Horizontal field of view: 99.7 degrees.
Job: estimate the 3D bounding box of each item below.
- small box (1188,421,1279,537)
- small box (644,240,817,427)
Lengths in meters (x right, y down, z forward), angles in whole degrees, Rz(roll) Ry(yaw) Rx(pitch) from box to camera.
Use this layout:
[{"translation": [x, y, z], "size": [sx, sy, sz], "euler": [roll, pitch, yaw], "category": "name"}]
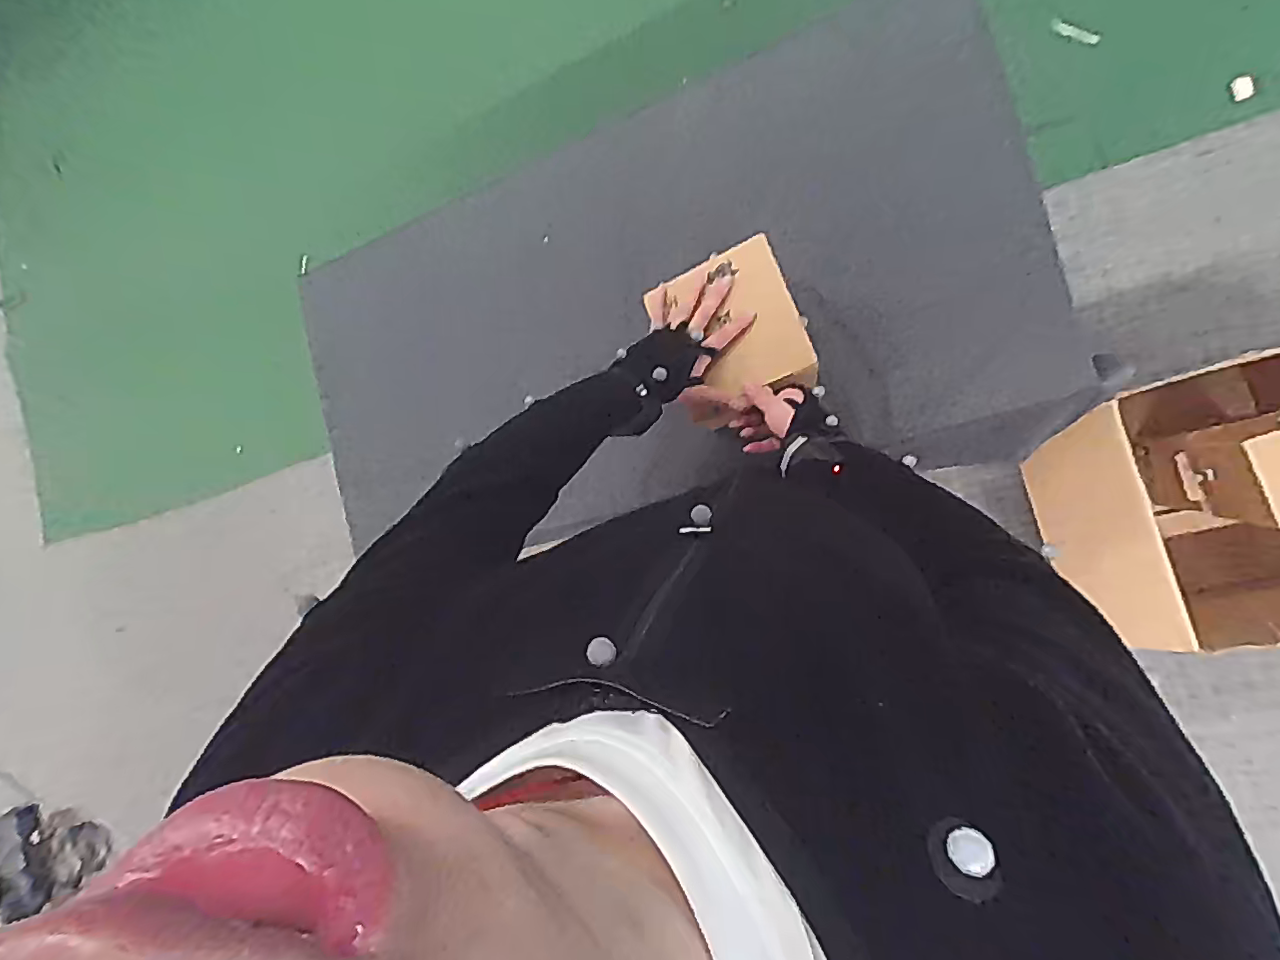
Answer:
[{"translation": [1.172, -0.010, 0.974], "size": [0.179, 0.176, 0.168], "euler": [-23, 86, 17], "category": "small box"}, {"translation": [0.129, -0.179, 0.732], "size": [0.168, 0.176, 0.179], "euler": [-23, 84, 15], "category": "small box"}]
